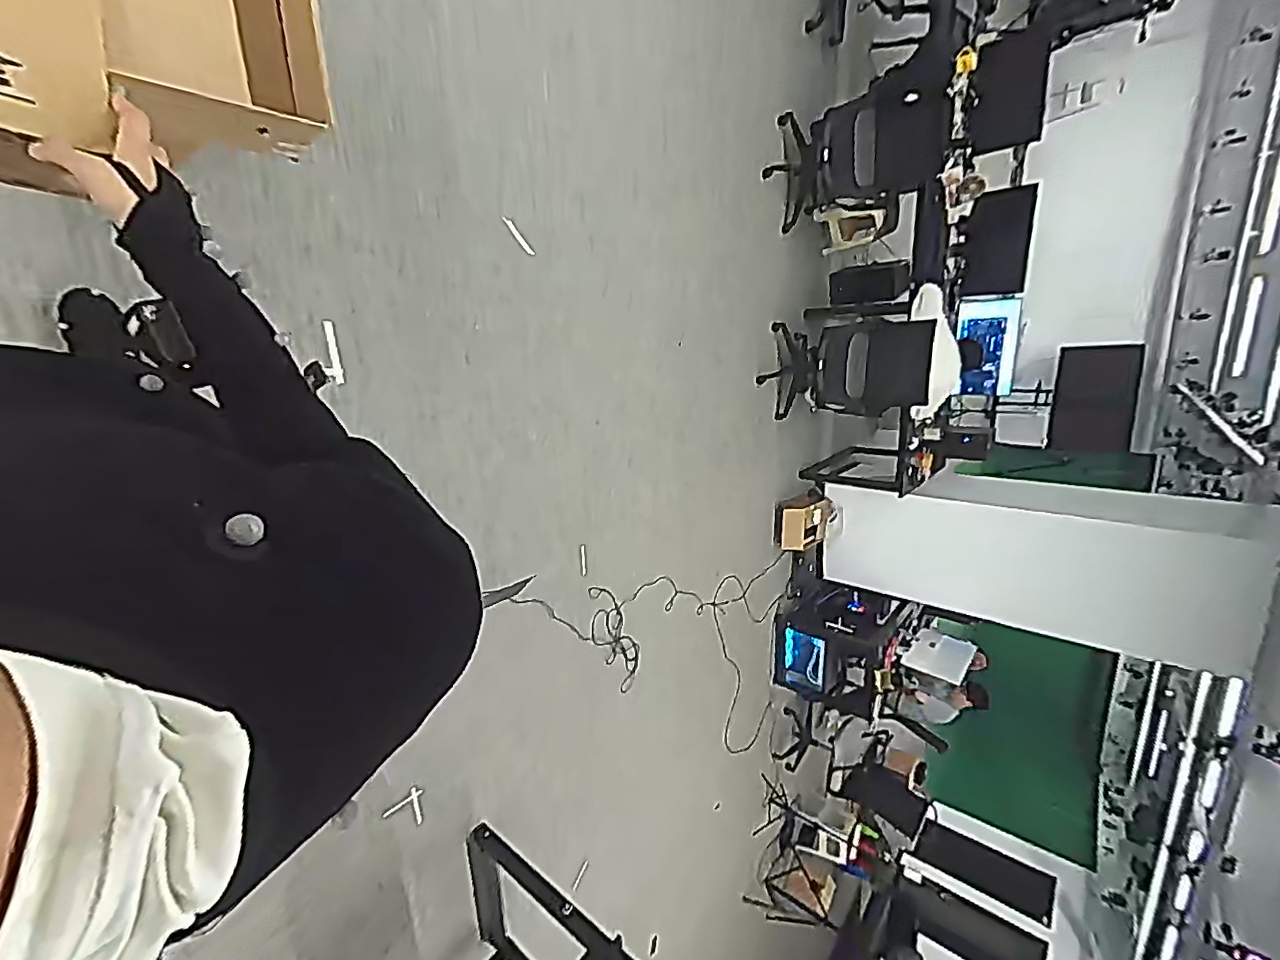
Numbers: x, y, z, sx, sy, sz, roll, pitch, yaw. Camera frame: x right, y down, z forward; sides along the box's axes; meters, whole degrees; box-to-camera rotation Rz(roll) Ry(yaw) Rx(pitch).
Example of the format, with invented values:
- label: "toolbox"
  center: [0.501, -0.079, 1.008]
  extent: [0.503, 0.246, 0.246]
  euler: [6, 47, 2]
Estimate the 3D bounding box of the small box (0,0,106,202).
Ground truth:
- label: "small box"
  center: [-0.573, -0.361, 0.457]
  extent: [0.168, 0.176, 0.179]
  euler: [-7, 101, -46]
